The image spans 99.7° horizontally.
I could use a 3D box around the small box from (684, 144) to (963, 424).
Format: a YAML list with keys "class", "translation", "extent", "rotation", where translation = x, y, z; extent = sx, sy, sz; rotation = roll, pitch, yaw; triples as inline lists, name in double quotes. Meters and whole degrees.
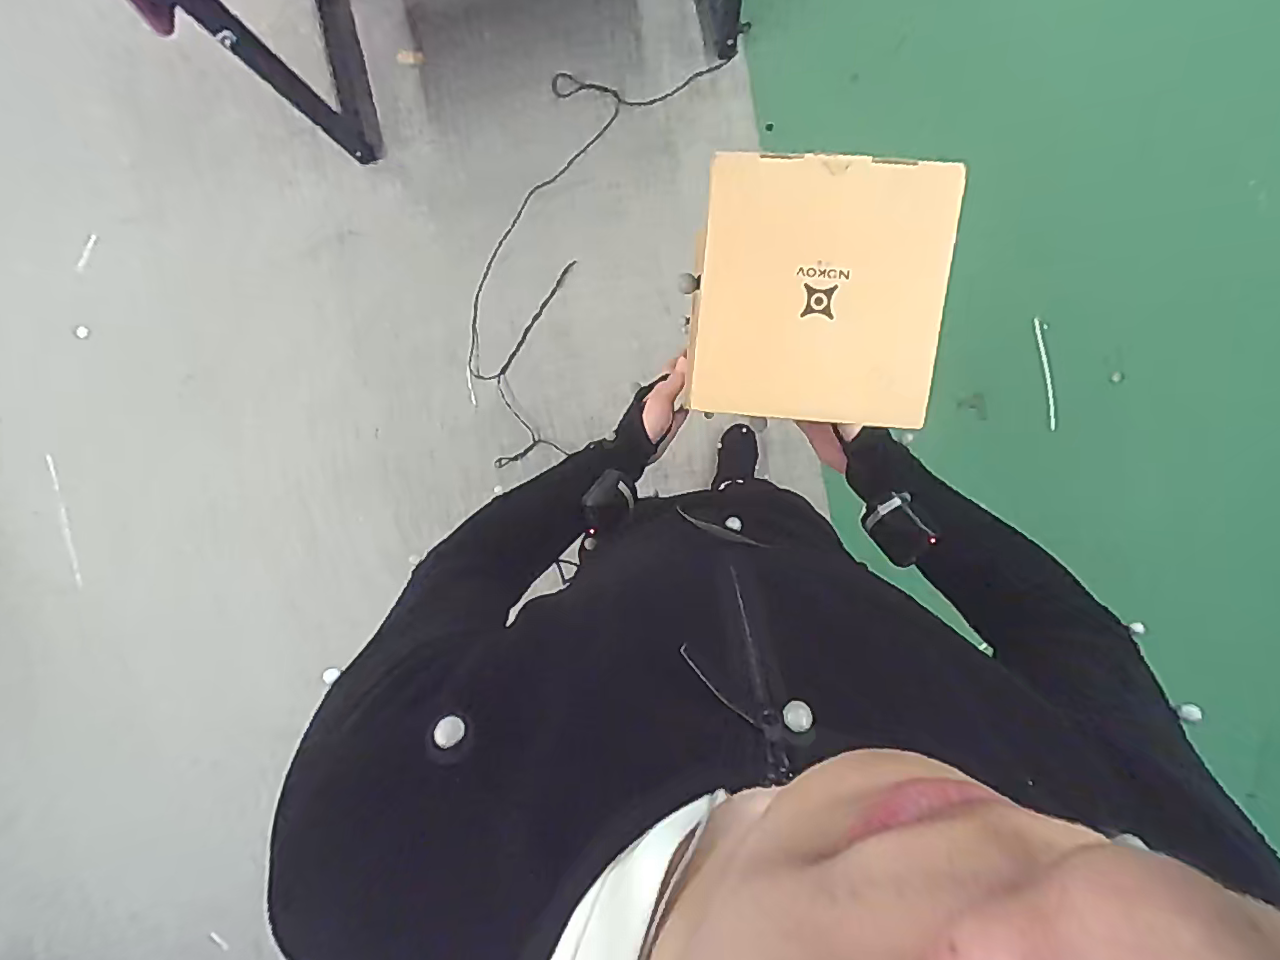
- class: "small box"
  translation: [0.128, -0.143, 0.443]
  extent: [0.168, 0.176, 0.179]
  rotation: [5, 99, 5]
